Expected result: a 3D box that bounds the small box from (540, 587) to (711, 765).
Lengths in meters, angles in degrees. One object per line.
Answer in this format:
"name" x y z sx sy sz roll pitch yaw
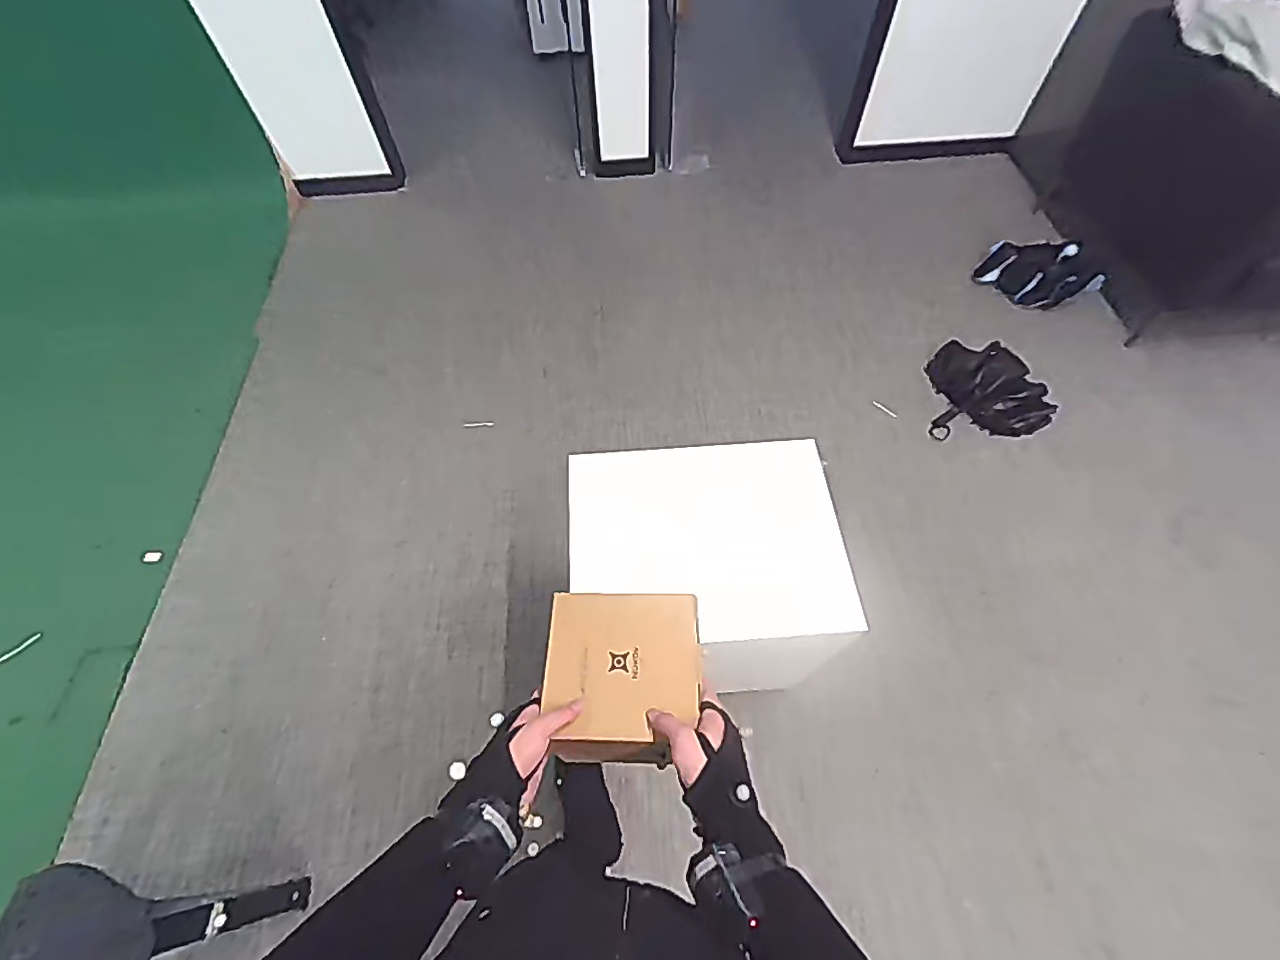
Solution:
"small box" -0.012 0.241 0.656 0.179 0.176 0.168 0 54 2
